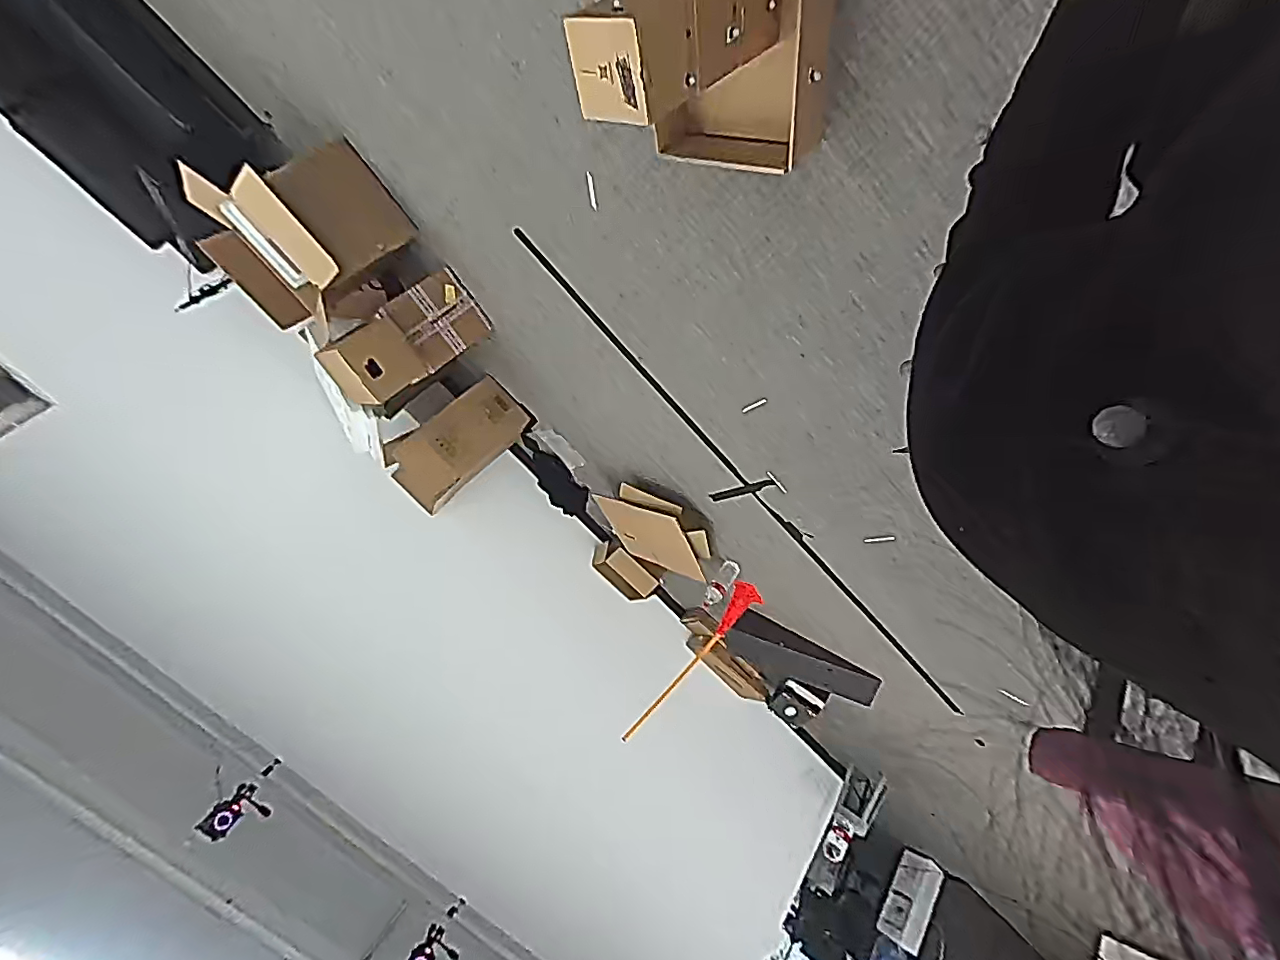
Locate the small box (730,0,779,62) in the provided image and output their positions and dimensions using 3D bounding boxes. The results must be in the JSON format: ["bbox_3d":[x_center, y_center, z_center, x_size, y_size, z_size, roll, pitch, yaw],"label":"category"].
[{"bbox_3d":[0.185,-1.038,1.169,0.179,0.176,0.168,28,152,25],"label":"small box"}]

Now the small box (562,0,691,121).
[{"bbox_3d":[-0.014,-0.818,1.032,0.179,0.176,0.168,28,152,28],"label":"small box"}]

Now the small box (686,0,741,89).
[{"bbox_3d":[0.088,-0.929,1.099,0.179,0.176,0.168,27,152,26],"label":"small box"}]
